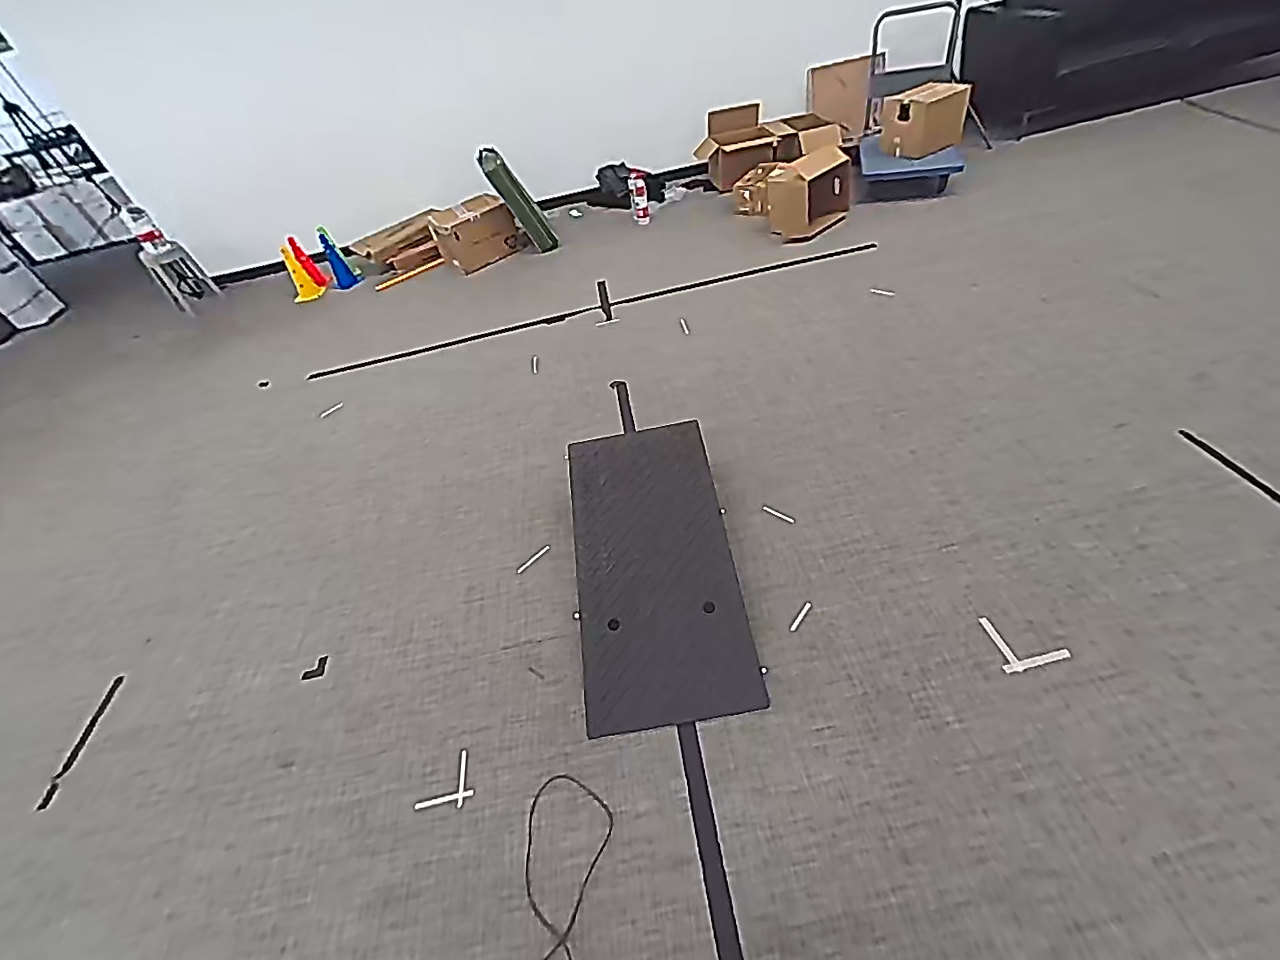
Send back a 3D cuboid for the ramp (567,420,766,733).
[{"bbox_3d":[0.036,0.230,1.713,0.509,0.206,0.991,-11,45,1],"label":"ramp"}]
